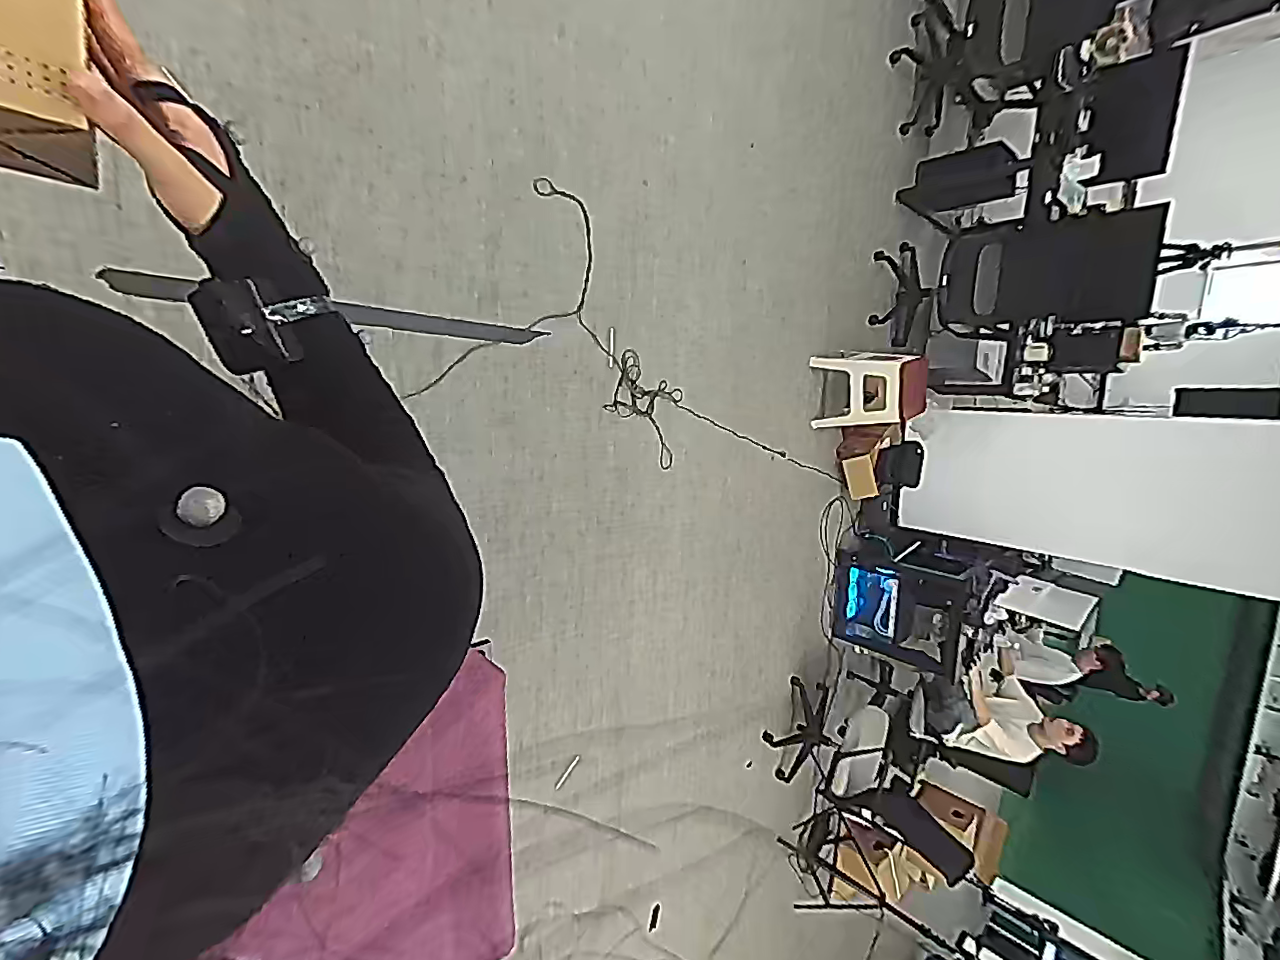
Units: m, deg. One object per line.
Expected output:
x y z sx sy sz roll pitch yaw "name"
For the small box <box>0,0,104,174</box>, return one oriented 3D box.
-0.414 -0.292 0.295 0.168 0.179 0.176 -2 103 -43 "small box"
